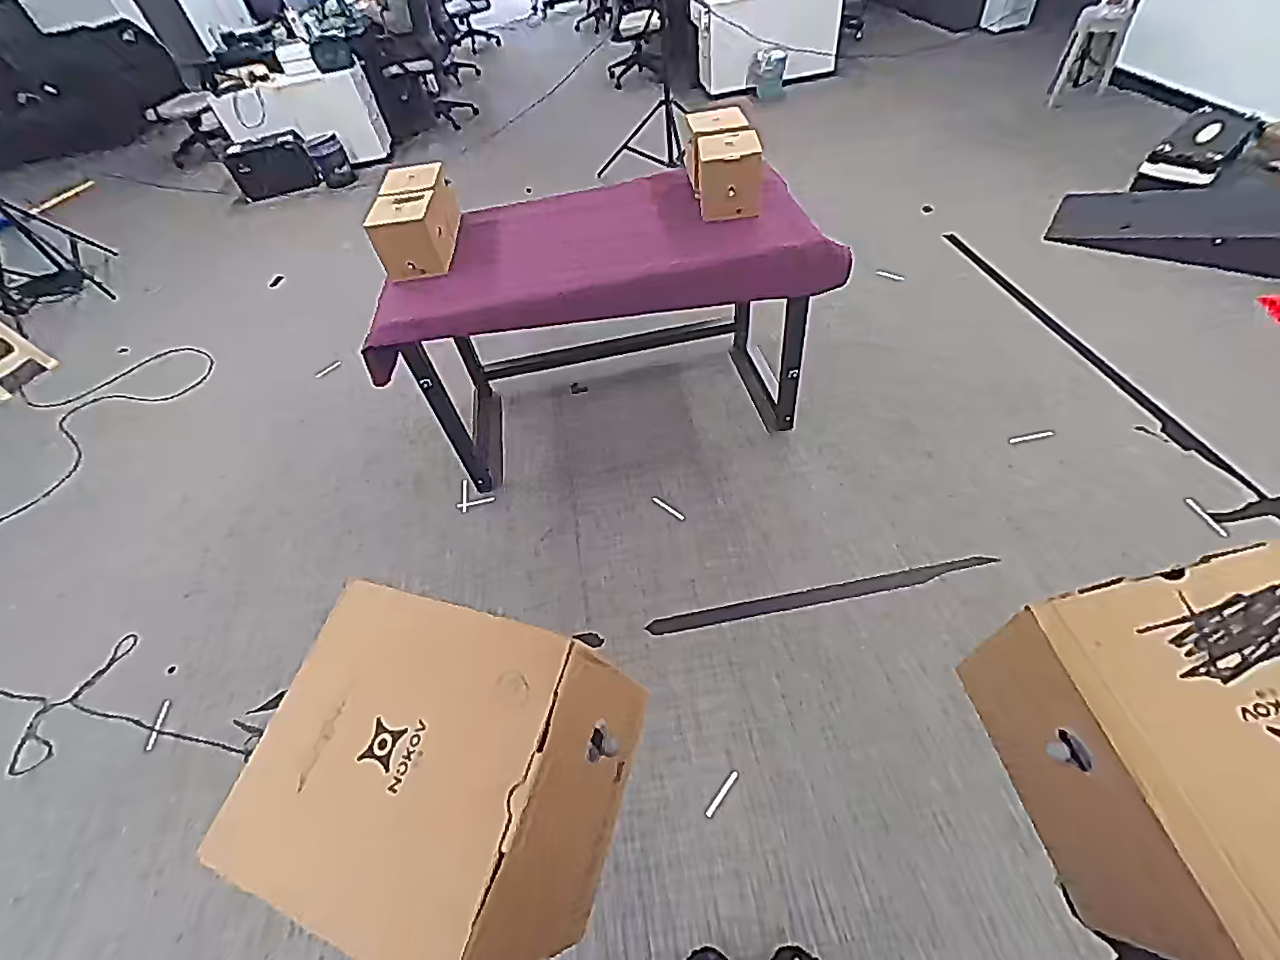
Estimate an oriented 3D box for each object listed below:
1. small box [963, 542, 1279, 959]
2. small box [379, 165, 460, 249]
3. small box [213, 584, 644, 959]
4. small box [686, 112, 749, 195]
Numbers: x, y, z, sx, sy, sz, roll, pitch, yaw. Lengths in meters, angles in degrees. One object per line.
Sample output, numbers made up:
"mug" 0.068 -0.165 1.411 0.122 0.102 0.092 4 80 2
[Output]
"small box" 0.338 0.165 0.334 0.168 0.176 0.179 -16 57 5
"small box" -0.667 -0.837 1.661 0.168 0.176 0.179 -8 51 2
"small box" -0.112 0.190 0.365 0.179 0.176 0.168 7 61 22
"small box" 0.235 -1.011 1.676 0.168 0.176 0.179 -8 49 1
